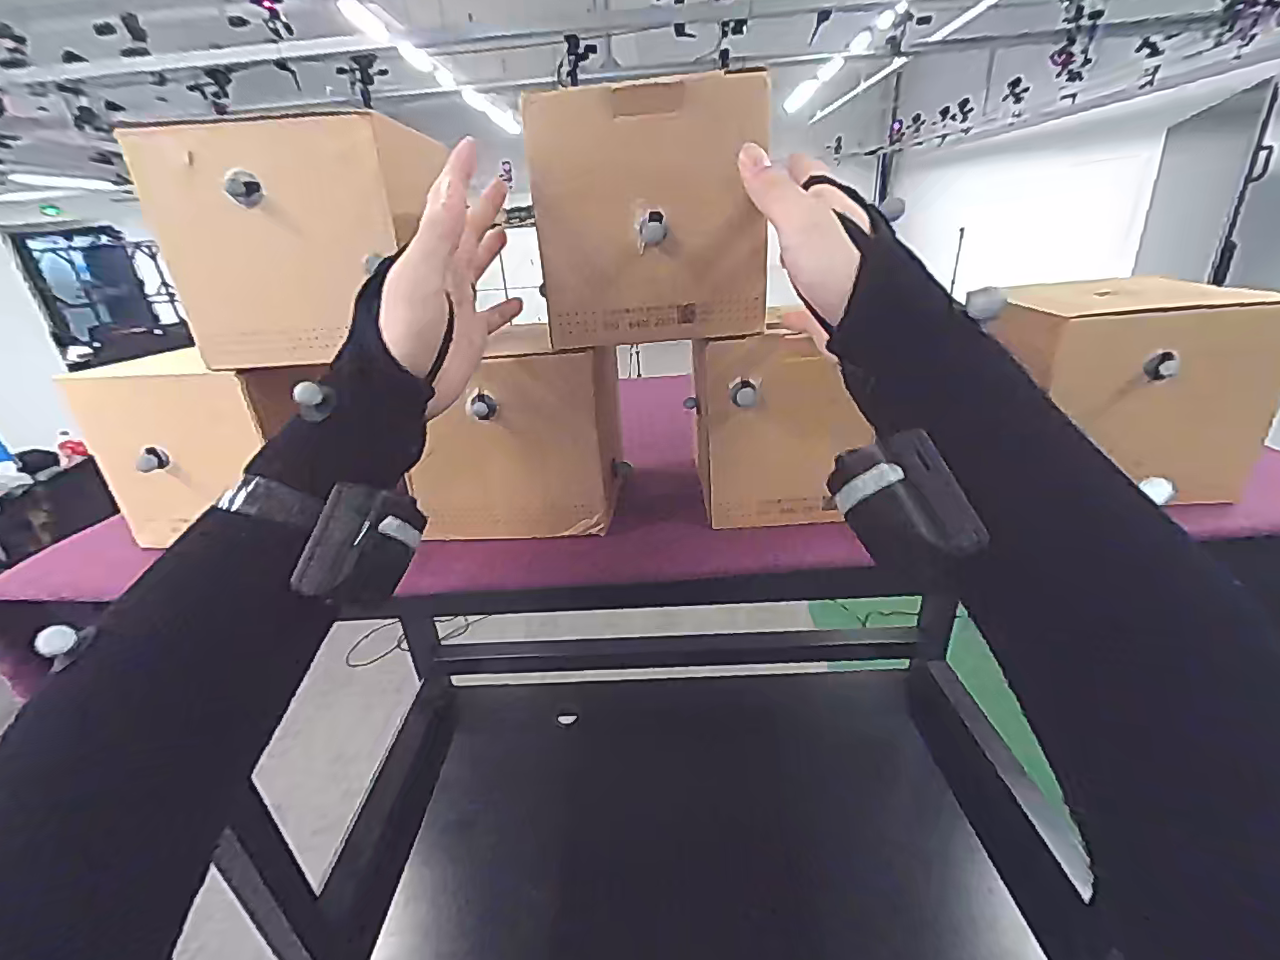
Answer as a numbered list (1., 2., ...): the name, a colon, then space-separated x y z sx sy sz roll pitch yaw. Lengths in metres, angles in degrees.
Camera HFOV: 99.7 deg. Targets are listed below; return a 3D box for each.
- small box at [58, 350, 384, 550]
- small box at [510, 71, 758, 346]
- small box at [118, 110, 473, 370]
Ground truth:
1. small box: -0.388 -0.040 0.544 0.168 0.176 0.179 -2 23 6
2. small box: 0.002 -0.212 0.455 0.168 0.176 0.179 -5 24 1
3. small box: -0.264 -0.195 0.466 0.179 0.176 0.168 -3 24 1
